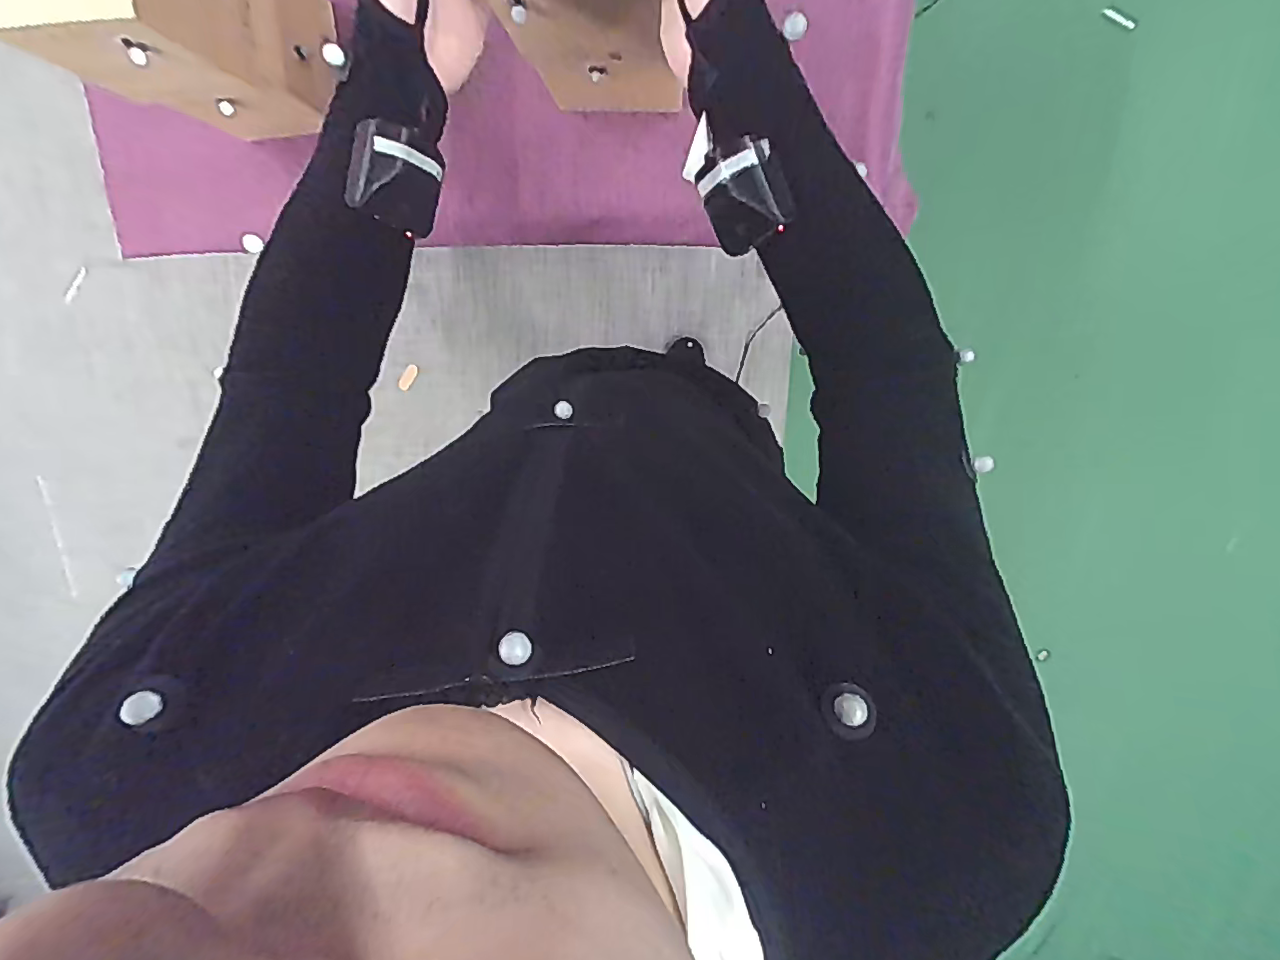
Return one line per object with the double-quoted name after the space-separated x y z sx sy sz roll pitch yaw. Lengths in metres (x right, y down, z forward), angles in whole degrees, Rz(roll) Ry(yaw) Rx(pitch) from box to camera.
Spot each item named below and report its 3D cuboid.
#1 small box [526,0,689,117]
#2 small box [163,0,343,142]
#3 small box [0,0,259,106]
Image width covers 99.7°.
-0.033 -0.576 0.672 0.179 0.176 0.168 3 104 5 "small box"
-0.528 -0.577 0.725 0.179 0.176 0.168 -1 104 7 "small box"
-0.542 -0.522 0.569 0.179 0.176 0.168 1 104 6 "small box"
